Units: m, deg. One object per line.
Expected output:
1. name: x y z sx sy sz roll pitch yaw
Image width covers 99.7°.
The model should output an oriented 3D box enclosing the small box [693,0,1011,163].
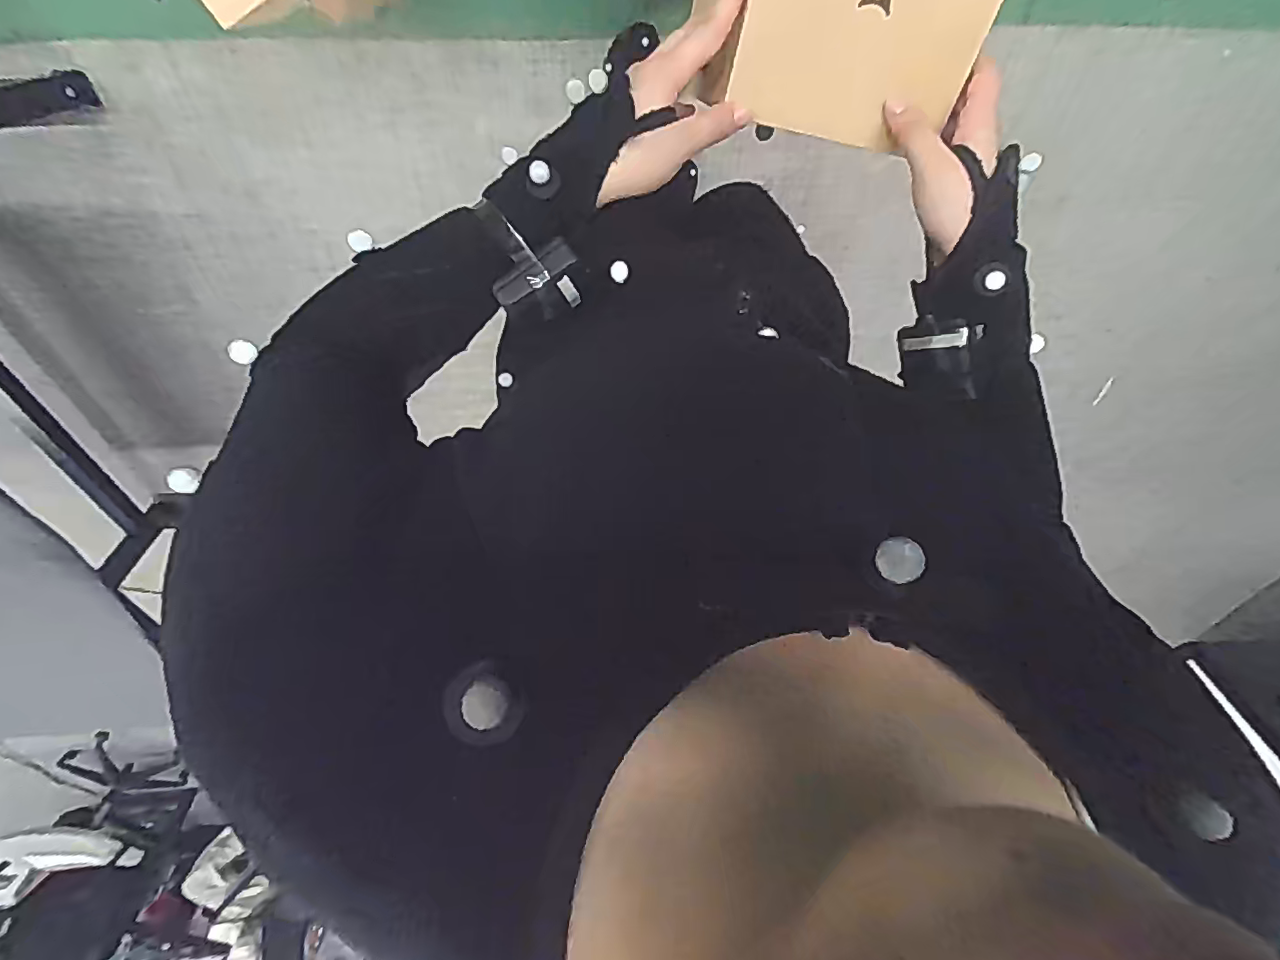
1. small box: 0.144 -0.356 0.388 0.168 0.176 0.179 3 130 -13

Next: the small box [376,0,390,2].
1. small box: -0.484 -0.882 0.845 0.168 0.176 0.179 9 132 -14

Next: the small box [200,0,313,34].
1. small box: -0.441 -0.655 0.613 0.179 0.176 0.168 -19 133 14

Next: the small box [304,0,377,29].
1. small box: -0.442 -0.768 0.733 0.168 0.176 0.179 26 126 -28
